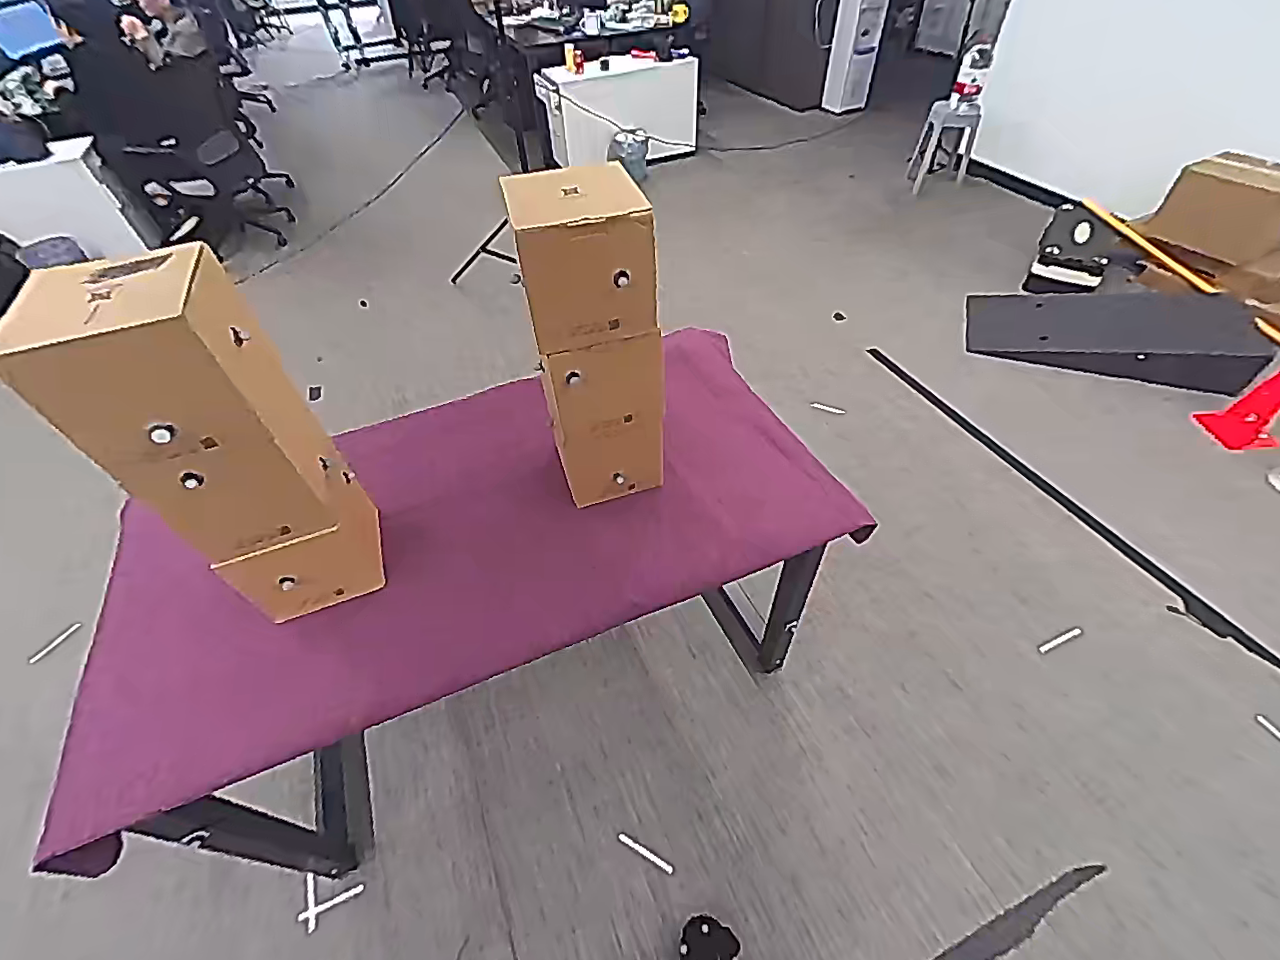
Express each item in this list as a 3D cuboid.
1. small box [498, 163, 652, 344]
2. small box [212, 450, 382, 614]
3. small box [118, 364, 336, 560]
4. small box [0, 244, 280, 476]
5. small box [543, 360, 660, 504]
[{"bbox_3d":[-0.083,-0.298,0.727,0.168,0.176,0.179,-13,48,-10],"label":"small box"},{"bbox_3d":[-0.523,0.088,0.848,0.168,0.176,0.179,-19,50,-13],"label":"small box"},{"bbox_3d":[-0.533,-0.025,0.730,0.168,0.176,0.179,-19,49,-13],"label":"small box"},{"bbox_3d":[-0.535,-0.135,0.606,0.168,0.176,0.179,-19,50,-13],"label":"small box"},{"bbox_3d":[-0.068,-0.086,0.975,0.168,0.176,0.179,-16,49,-10],"label":"small box"}]
